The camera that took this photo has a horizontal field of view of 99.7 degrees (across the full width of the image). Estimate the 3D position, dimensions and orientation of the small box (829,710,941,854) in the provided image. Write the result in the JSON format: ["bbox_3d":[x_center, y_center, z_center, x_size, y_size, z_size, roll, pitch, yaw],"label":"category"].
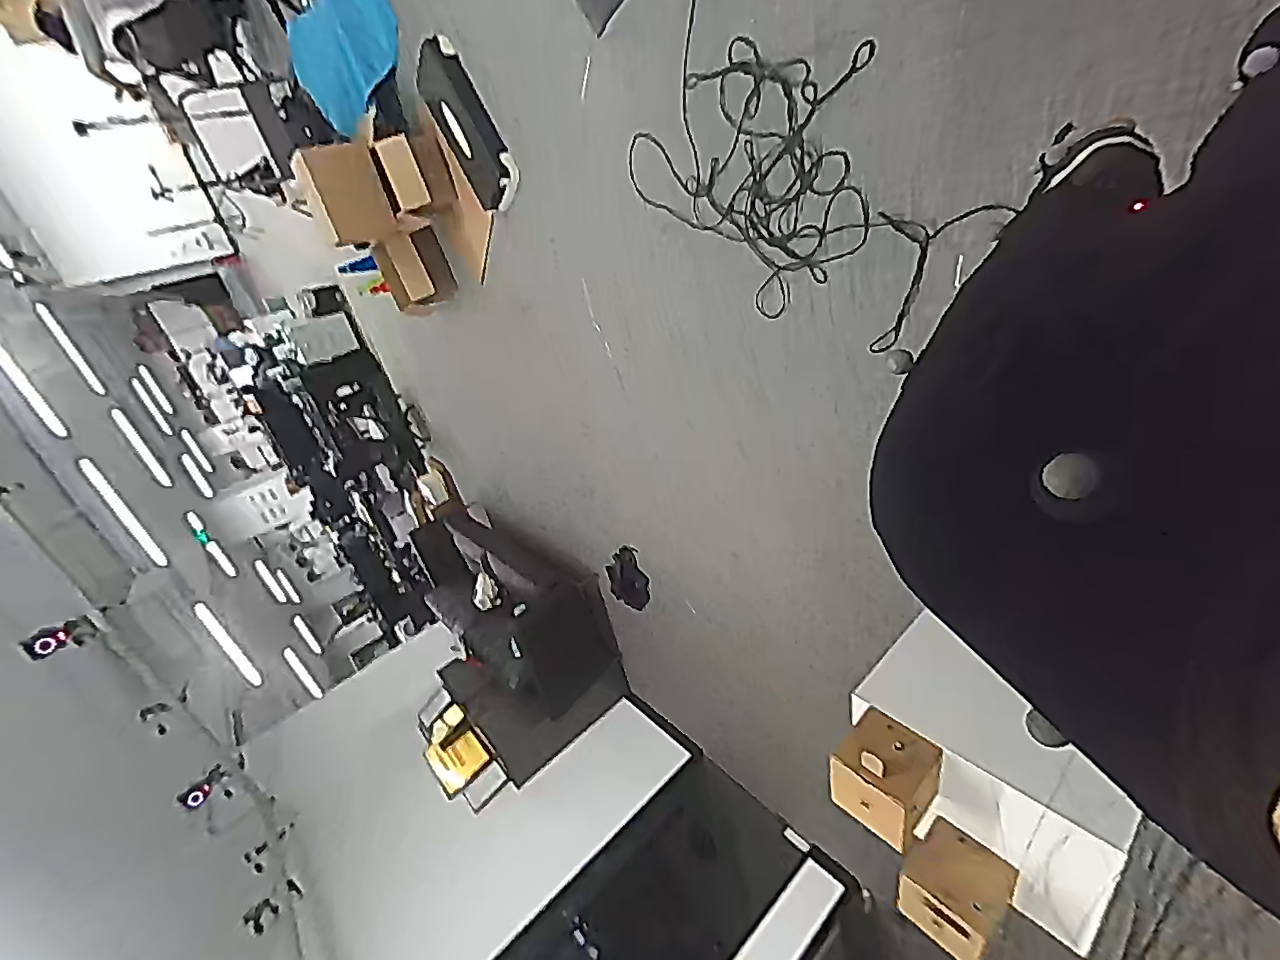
[{"bbox_3d":[0.534,0.651,1.182,0.168,0.176,0.179,23,135,46],"label":"small box"}]
